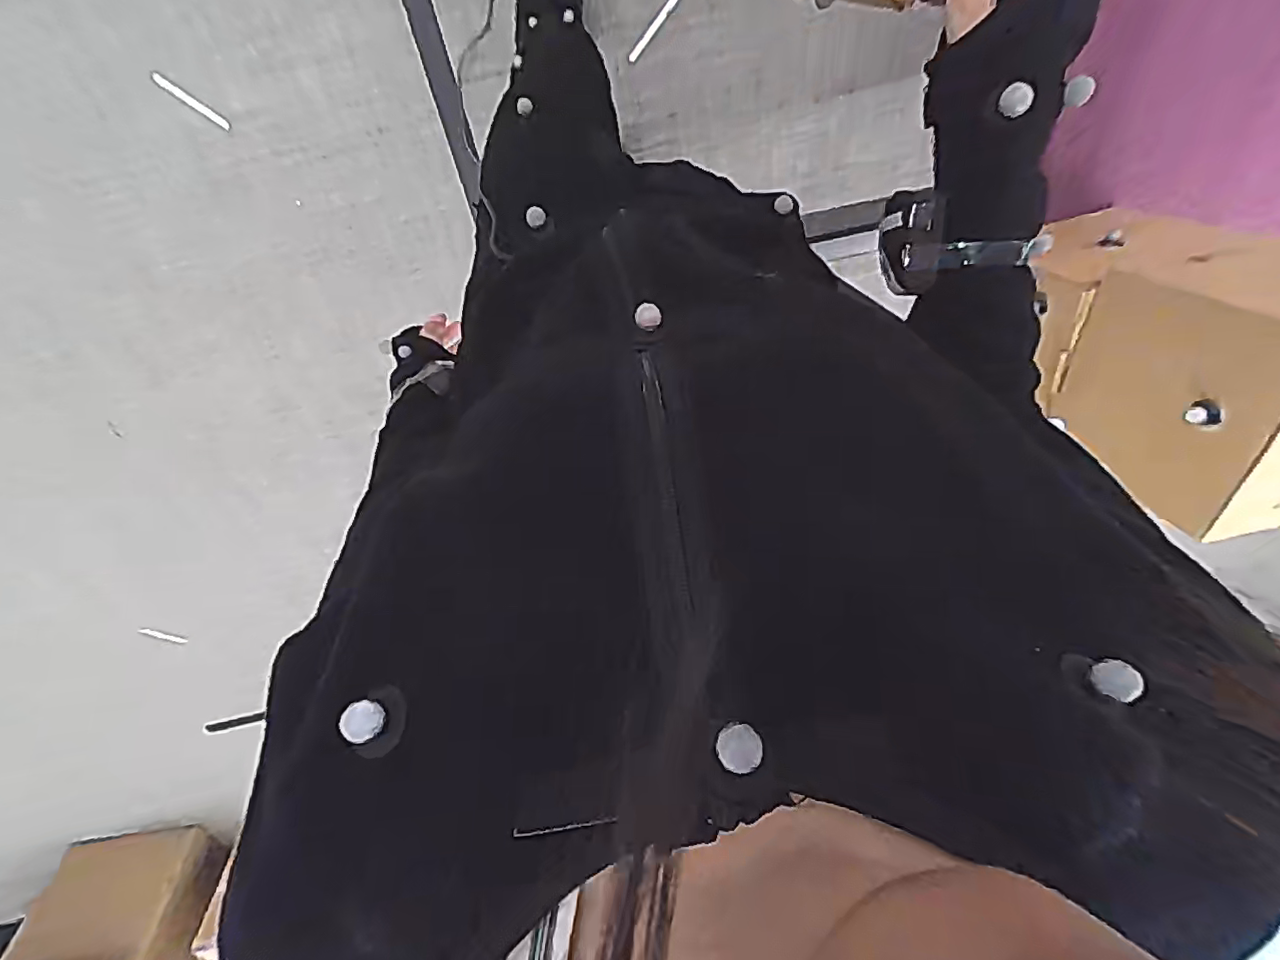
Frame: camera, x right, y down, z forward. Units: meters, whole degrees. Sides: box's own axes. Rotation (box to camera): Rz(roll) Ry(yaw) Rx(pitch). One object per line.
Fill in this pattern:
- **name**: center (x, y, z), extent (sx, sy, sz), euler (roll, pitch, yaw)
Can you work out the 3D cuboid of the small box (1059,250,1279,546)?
- **small box**: center (0.502, -0.077, 0.446), extent (0.168, 0.176, 0.179), euler (-11, 127, -3)
